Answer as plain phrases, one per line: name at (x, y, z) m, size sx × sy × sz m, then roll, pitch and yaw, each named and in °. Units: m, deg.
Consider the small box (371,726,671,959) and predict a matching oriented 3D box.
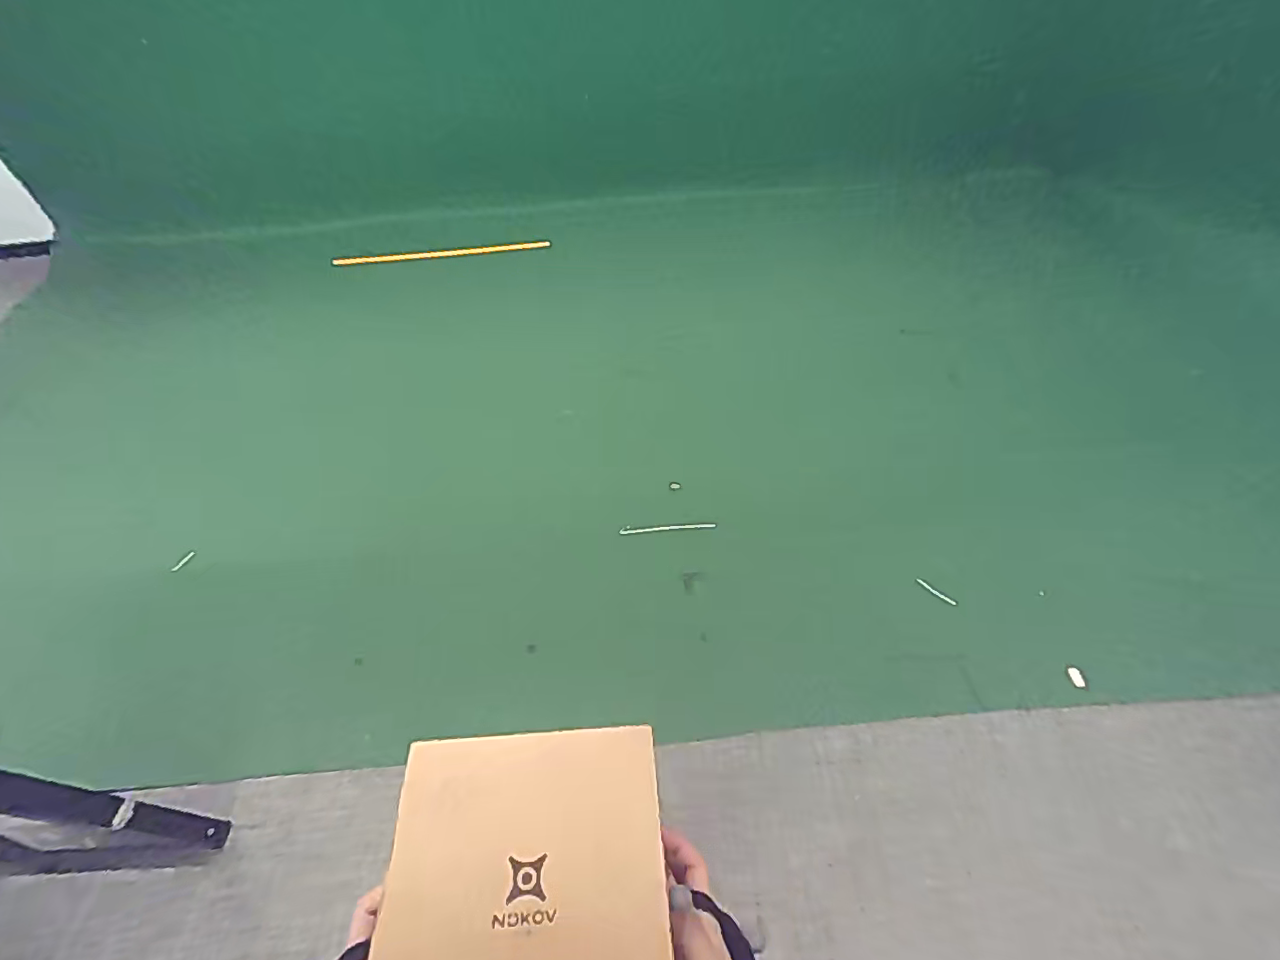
small box at (-0.072, 0.295, 0.377) m, size 0.168 × 0.176 × 0.179 m, roll -2°, pitch 47°, yaw -6°
